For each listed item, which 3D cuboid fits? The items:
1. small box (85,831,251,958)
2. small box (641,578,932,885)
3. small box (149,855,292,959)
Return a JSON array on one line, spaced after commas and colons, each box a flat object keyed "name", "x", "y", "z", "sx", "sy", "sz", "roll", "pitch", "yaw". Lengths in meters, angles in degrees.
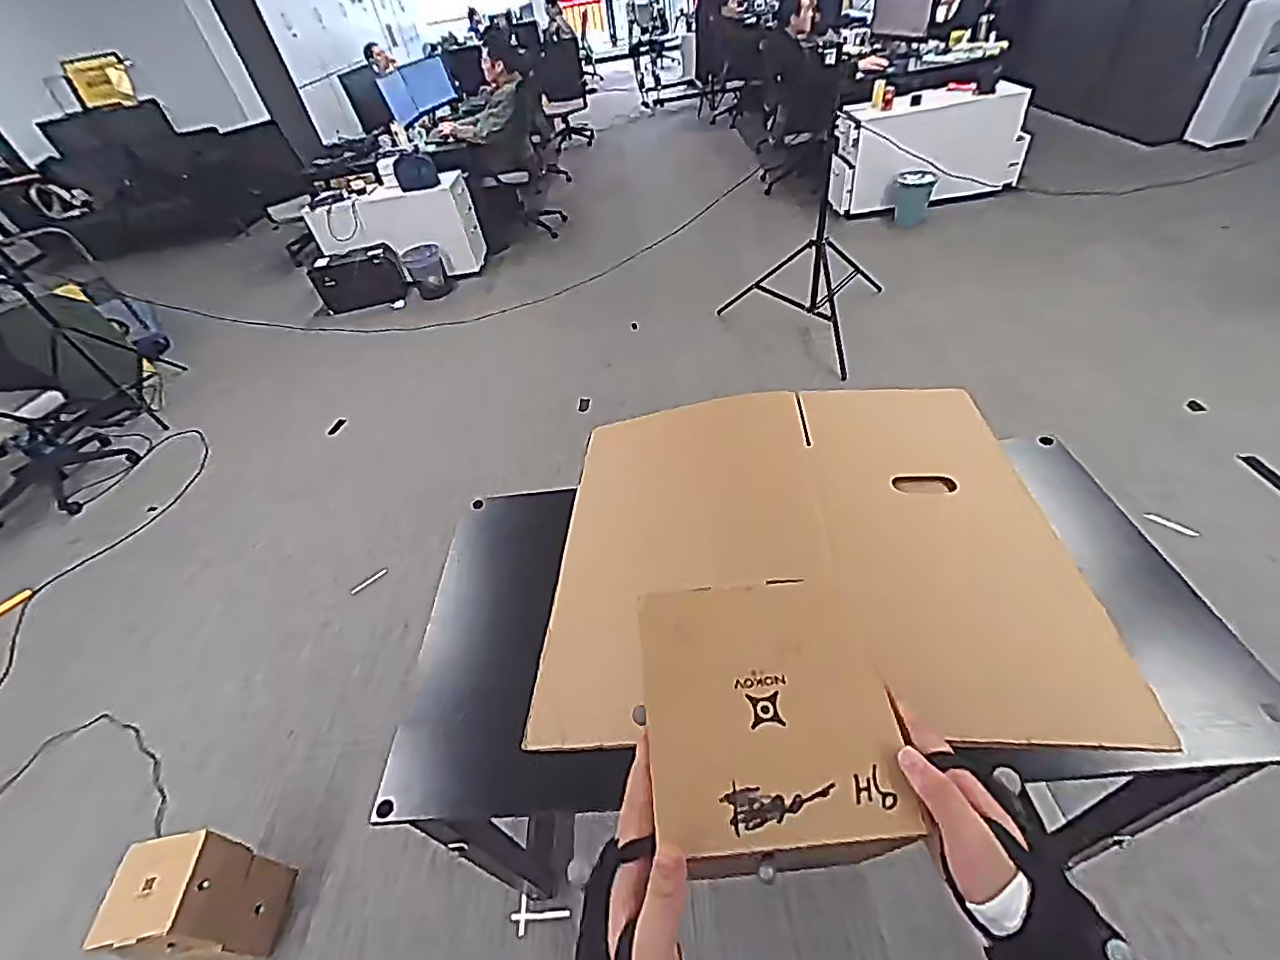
[{"name": "small box", "x": -0.964, "y": 0.869, "z": 1.129, "sx": 0.168, "sy": 0.176, "sz": 0.179, "roll": -11, "pitch": 43, "yaw": -1}, {"name": "small box", "x": 0.091, "y": 0.202, "z": 0.432, "sx": 0.168, "sy": 0.176, "sz": 0.179, "roll": -6, "pitch": 49, "yaw": 1}, {"name": "small box", "x": -0.940, "y": 0.989, "z": 1.237, "sx": 0.168, "sy": 0.176, "sz": 0.179, "roll": -9, "pitch": 44, "yaw": 2}]
